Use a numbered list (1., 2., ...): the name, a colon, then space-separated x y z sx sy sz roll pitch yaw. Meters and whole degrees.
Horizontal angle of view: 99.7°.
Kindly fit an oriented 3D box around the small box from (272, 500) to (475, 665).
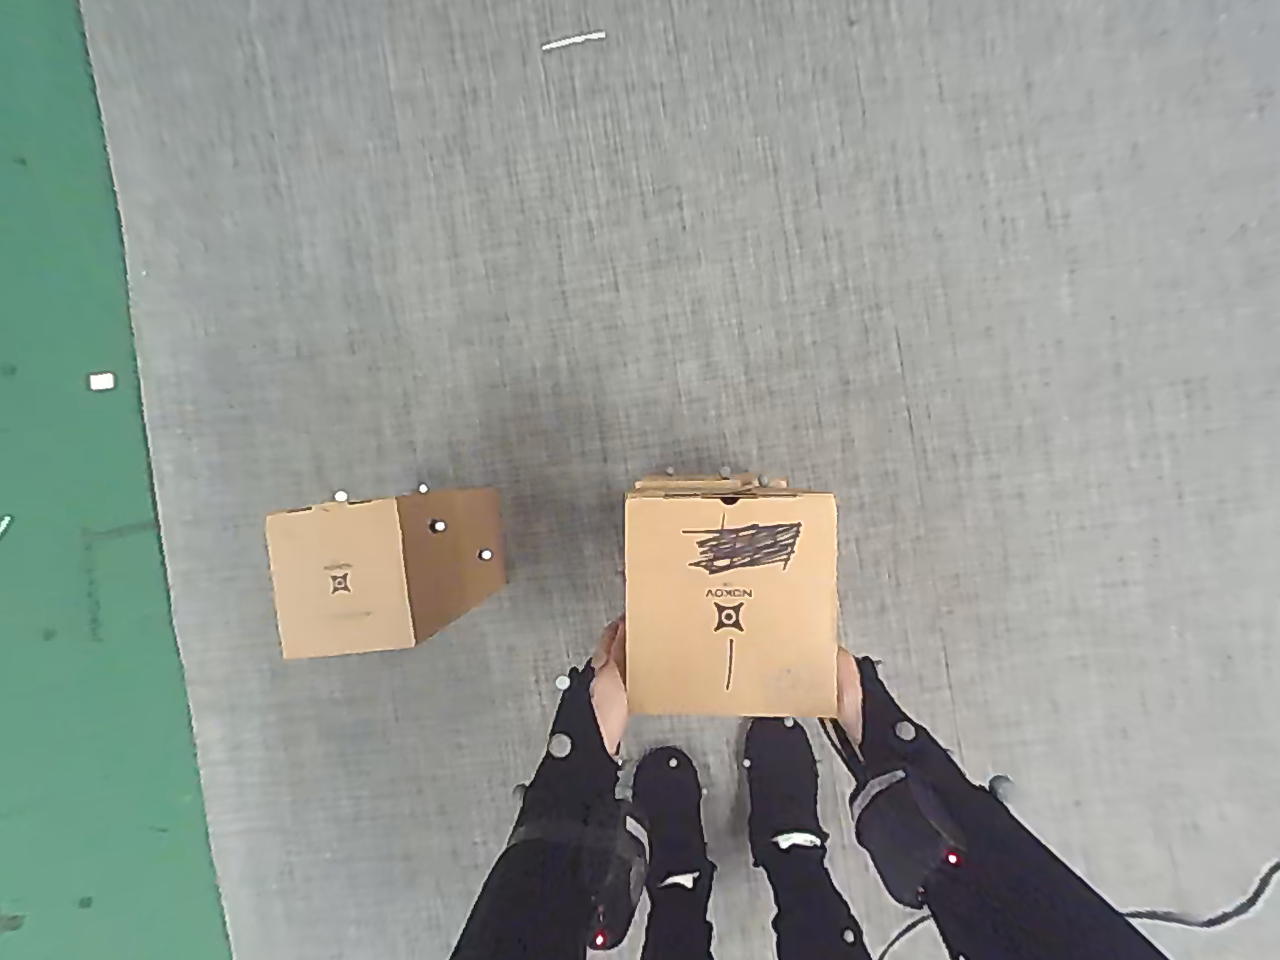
1. small box: -0.334 0.121 0.709 0.168 0.176 0.179 -8 92 6

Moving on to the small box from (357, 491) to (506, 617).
1. small box: -0.323 0.115 0.871 0.168 0.176 0.179 -4 92 5

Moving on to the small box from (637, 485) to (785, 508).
1. small box: 0.083 0.095 0.674 0.168 0.176 0.179 -1 92 5

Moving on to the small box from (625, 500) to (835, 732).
1. small box: 0.073 0.110 0.506 0.168 0.176 0.179 0 92 3
